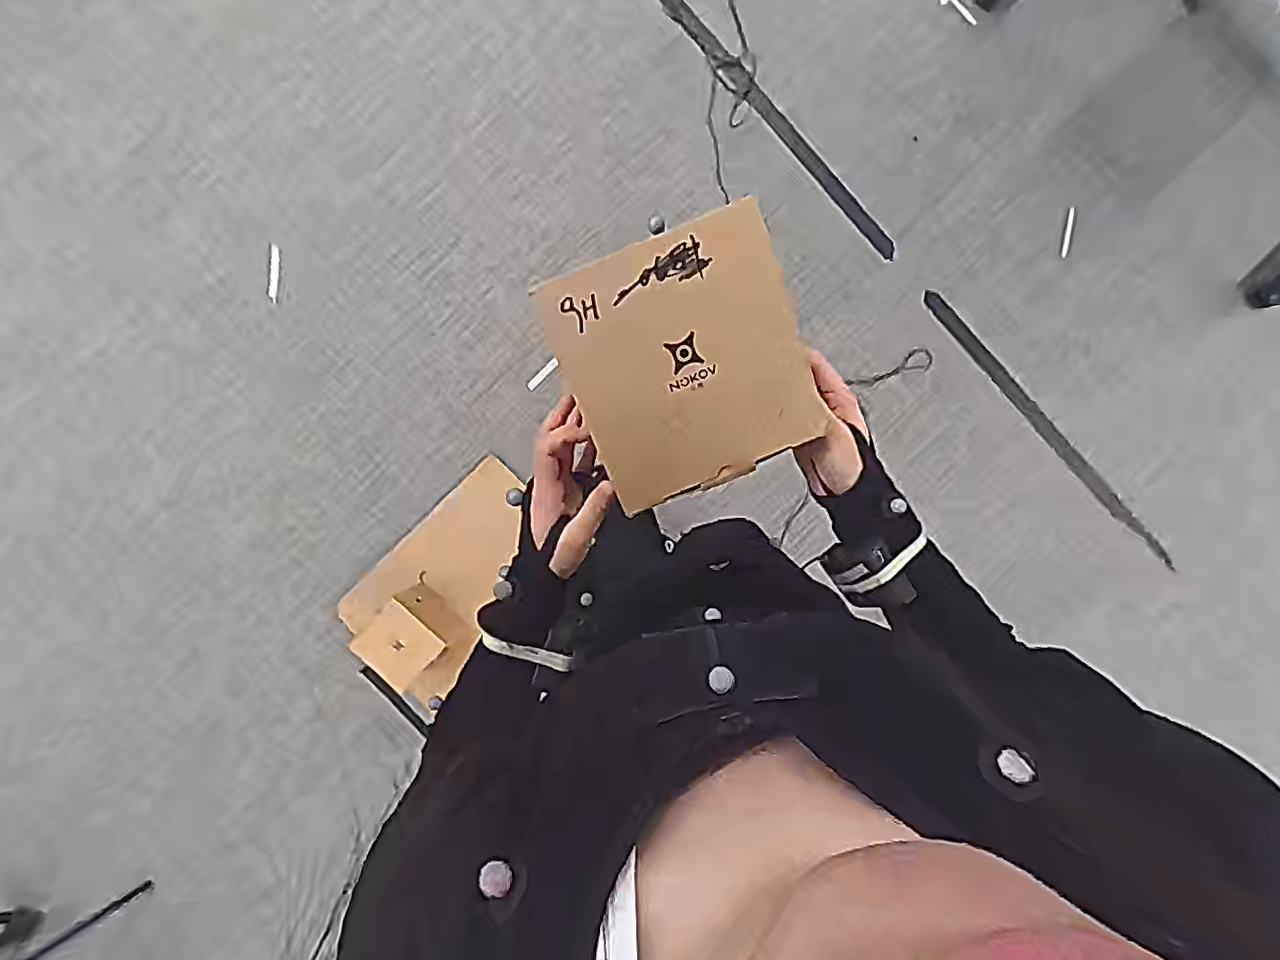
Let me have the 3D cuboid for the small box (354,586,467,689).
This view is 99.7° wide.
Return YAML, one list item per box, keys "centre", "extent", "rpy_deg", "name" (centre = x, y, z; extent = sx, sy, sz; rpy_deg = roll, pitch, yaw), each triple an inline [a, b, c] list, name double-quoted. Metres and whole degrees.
- centre: [-0.579, 0.391, 1.386]
  extent: [0.179, 0.176, 0.168]
  rpy_deg: [41, 91, -2]
  name: "small box"
